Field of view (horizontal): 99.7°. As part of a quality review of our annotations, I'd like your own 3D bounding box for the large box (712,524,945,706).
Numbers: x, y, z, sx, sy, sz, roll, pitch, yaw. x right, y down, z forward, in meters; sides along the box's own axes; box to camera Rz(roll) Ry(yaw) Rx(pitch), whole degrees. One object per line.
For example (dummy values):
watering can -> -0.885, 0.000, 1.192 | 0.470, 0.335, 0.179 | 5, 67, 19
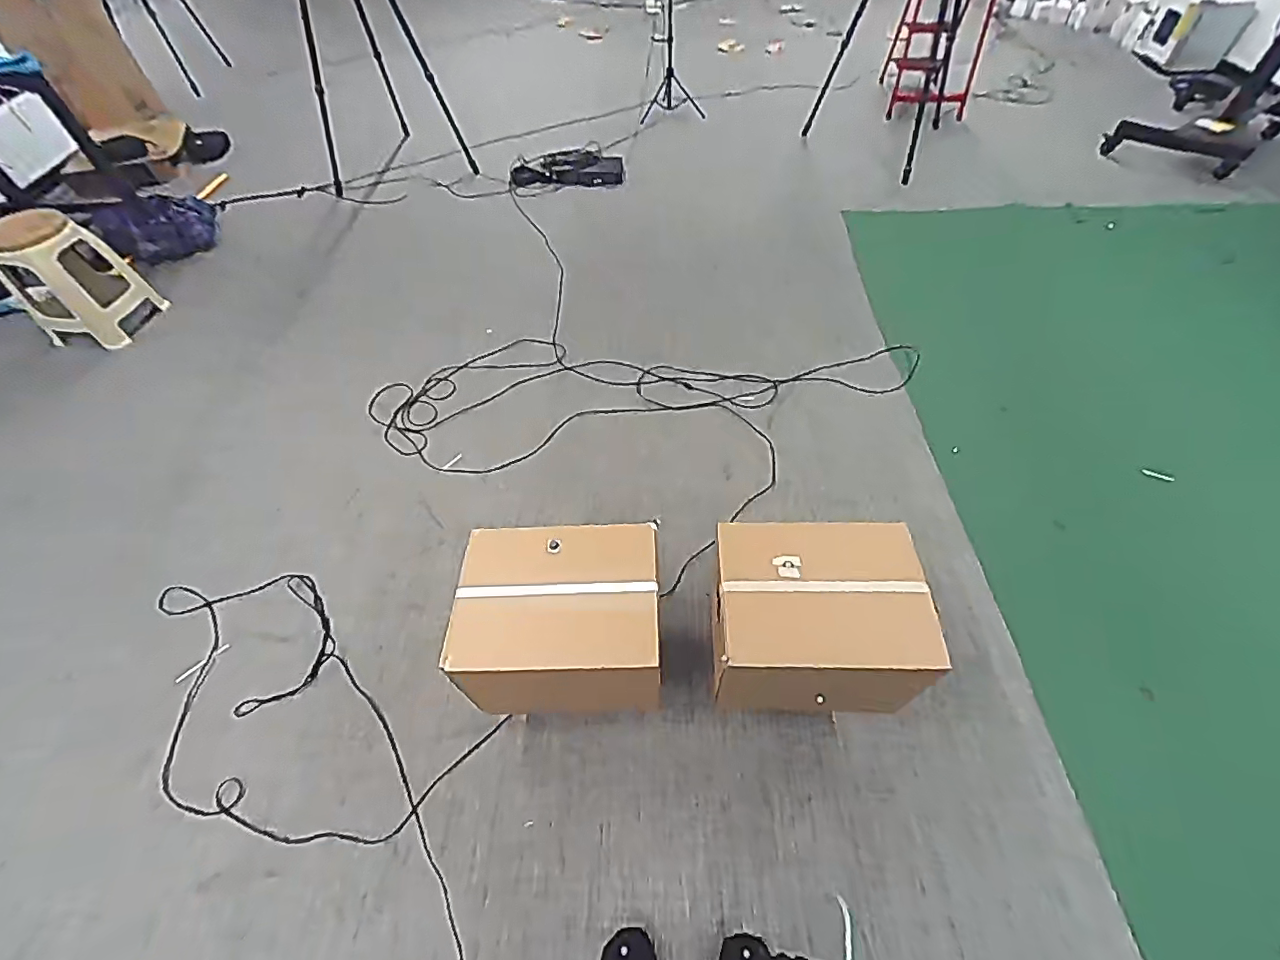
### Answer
large box -> 0.375, 0.309, 1.205 | 0.408, 0.320, 0.320 | 0, 53, 3
